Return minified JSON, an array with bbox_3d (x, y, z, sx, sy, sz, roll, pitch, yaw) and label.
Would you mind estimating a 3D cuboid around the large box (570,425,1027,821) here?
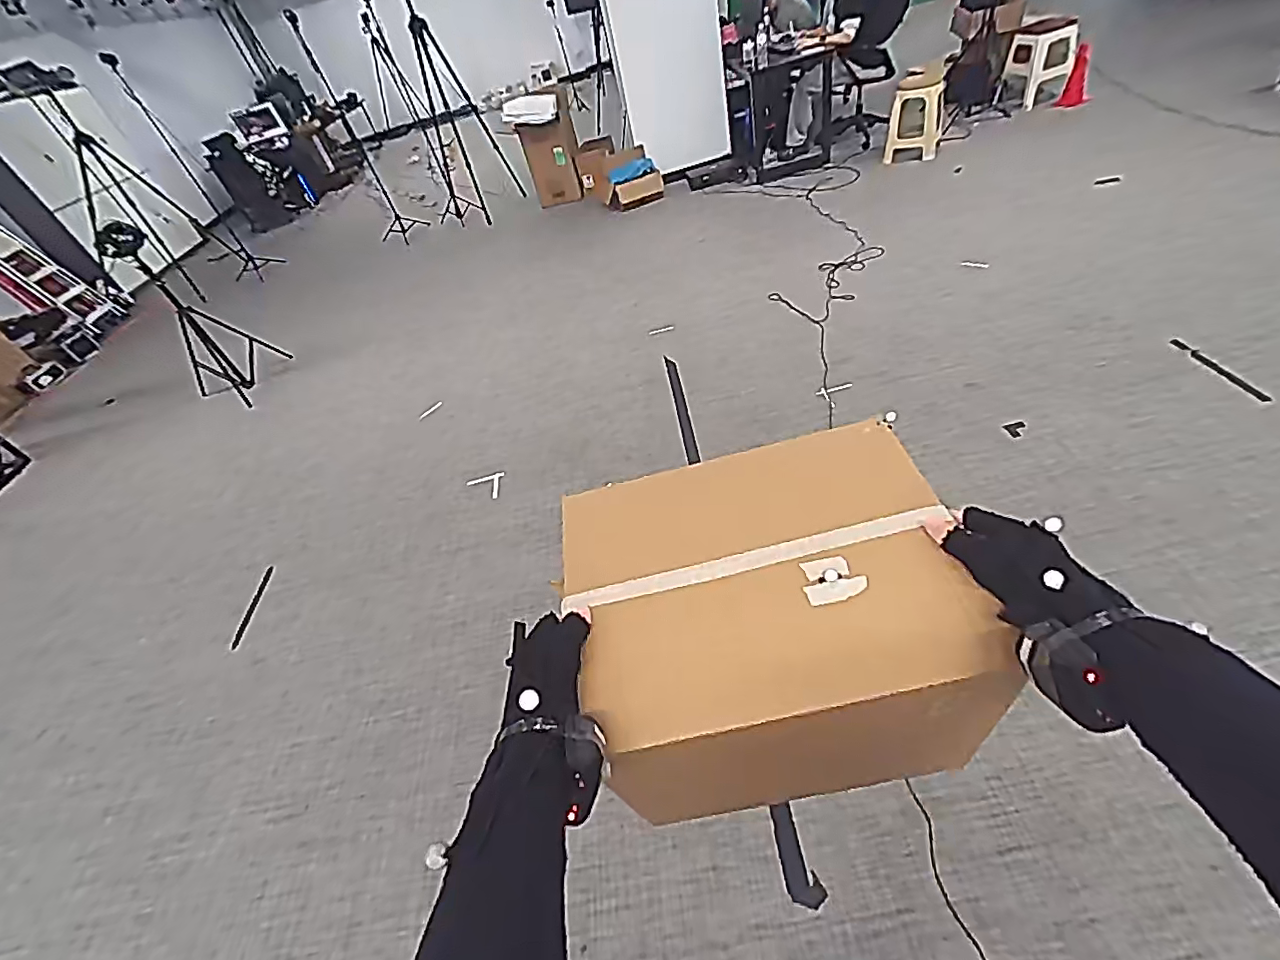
[{"bbox_3d":[0.153,0.186,0.682,0.408,0.320,0.320,-14,47,4],"label":"large box"}]
